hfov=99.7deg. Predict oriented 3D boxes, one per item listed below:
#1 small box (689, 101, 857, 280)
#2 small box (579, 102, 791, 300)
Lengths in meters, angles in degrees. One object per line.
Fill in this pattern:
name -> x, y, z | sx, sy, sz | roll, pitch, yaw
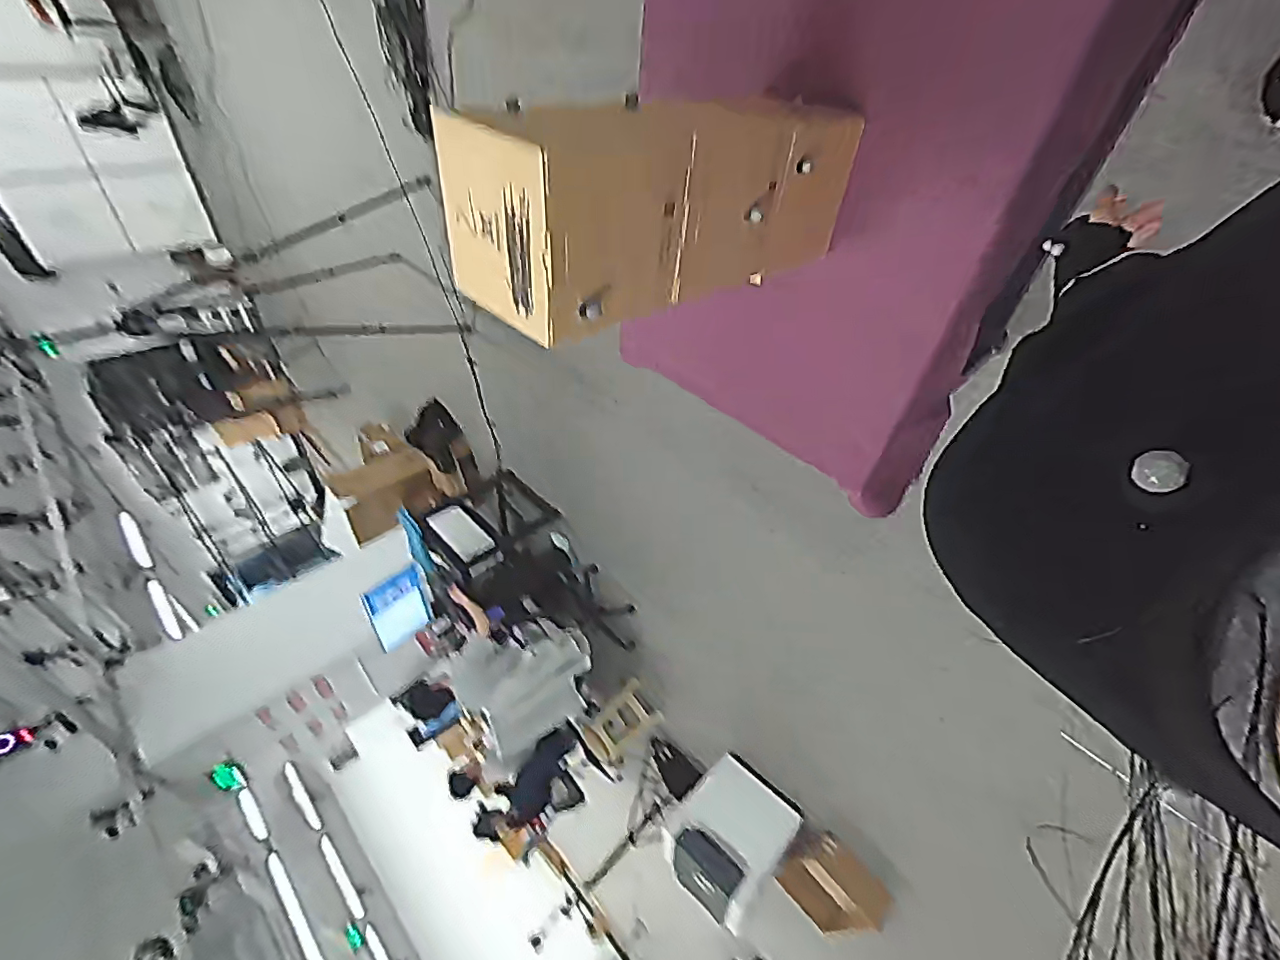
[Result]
small box -> 0.166, -0.399, 0.737 | 0.168, 0.176, 0.179 | 36, 139, 31
small box -> 0.046, -0.337, 0.641 | 0.179, 0.176, 0.168 | 36, 139, 31
